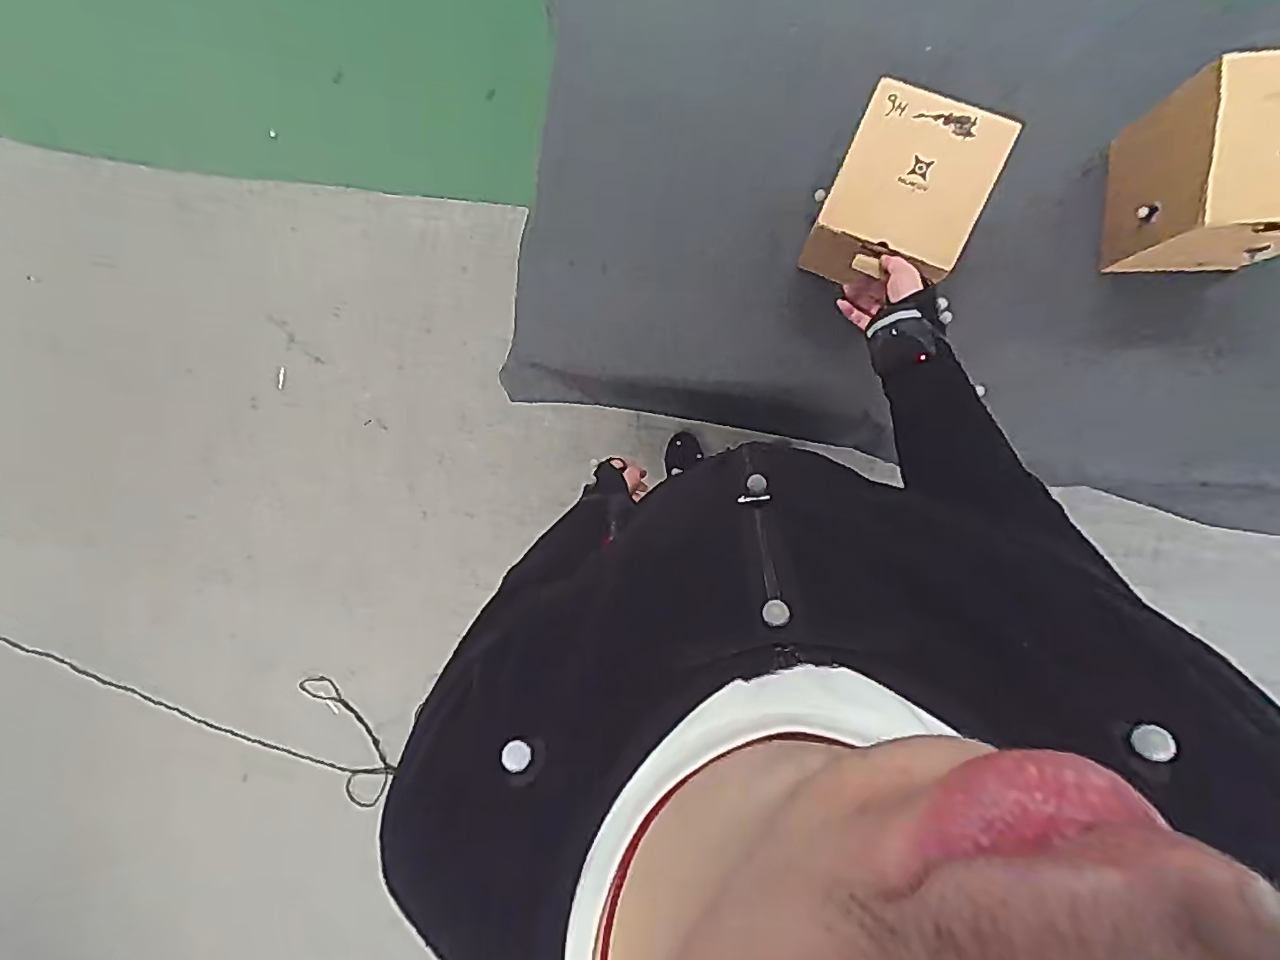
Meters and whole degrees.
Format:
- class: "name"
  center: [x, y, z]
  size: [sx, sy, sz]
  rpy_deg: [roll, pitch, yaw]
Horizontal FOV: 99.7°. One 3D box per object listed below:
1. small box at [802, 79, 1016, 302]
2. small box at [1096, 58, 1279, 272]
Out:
- class: "small box"
  center: [0.325, -0.353, 0.698]
  size: [0.168, 0.176, 0.179]
  rpy_deg: [25, 98, 5]
- class: "small box"
  center: [0.693, -0.358, 0.645]
  size: [0.168, 0.176, 0.179]
  rpy_deg: [2, 94, 7]
